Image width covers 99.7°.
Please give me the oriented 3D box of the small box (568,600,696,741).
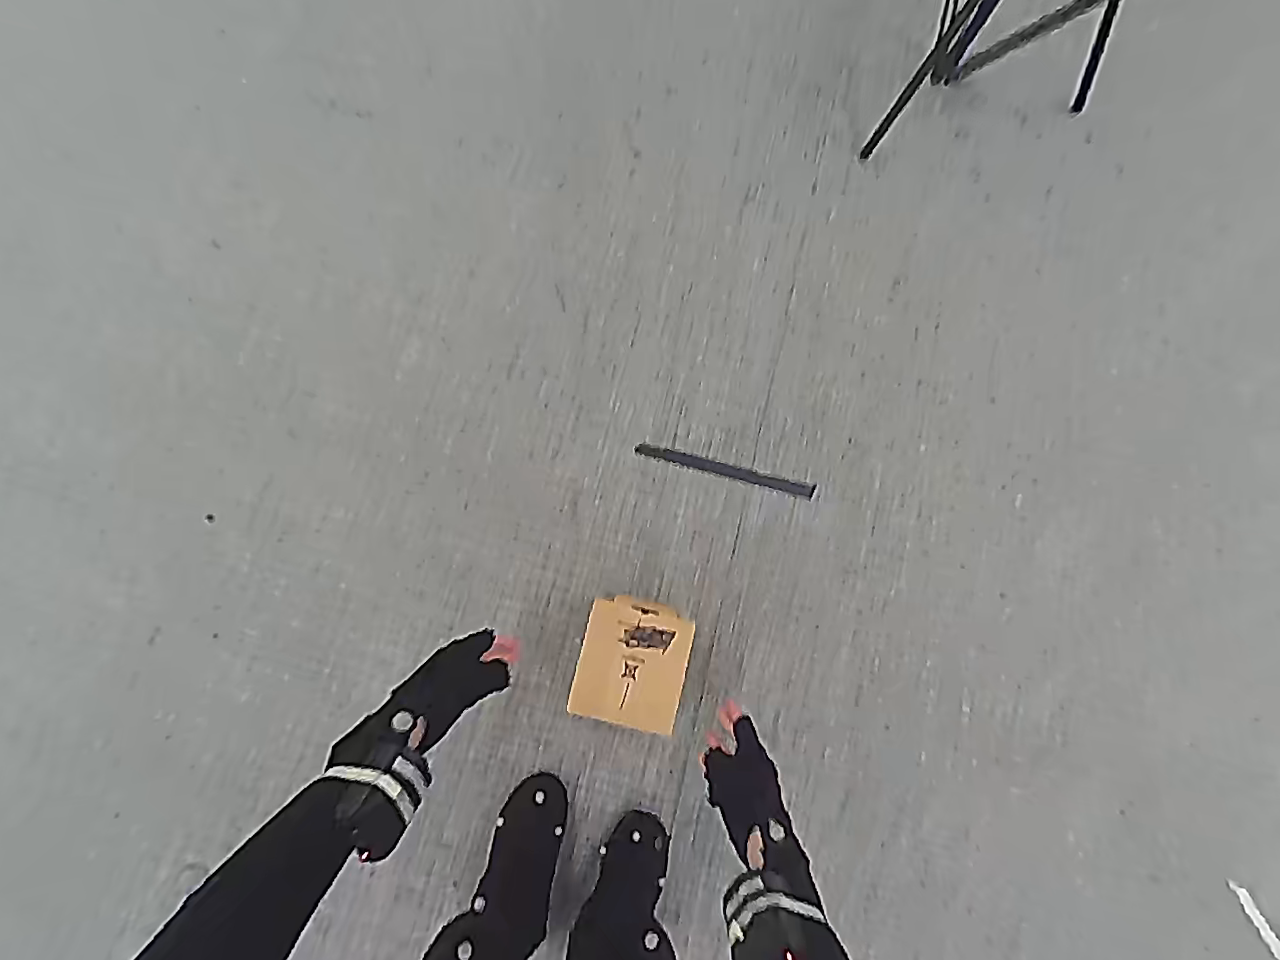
[{"bbox_3d":[-0.017,0.305,0.903,0.168,0.176,0.179,15,78,-1],"label":"small box"}]
